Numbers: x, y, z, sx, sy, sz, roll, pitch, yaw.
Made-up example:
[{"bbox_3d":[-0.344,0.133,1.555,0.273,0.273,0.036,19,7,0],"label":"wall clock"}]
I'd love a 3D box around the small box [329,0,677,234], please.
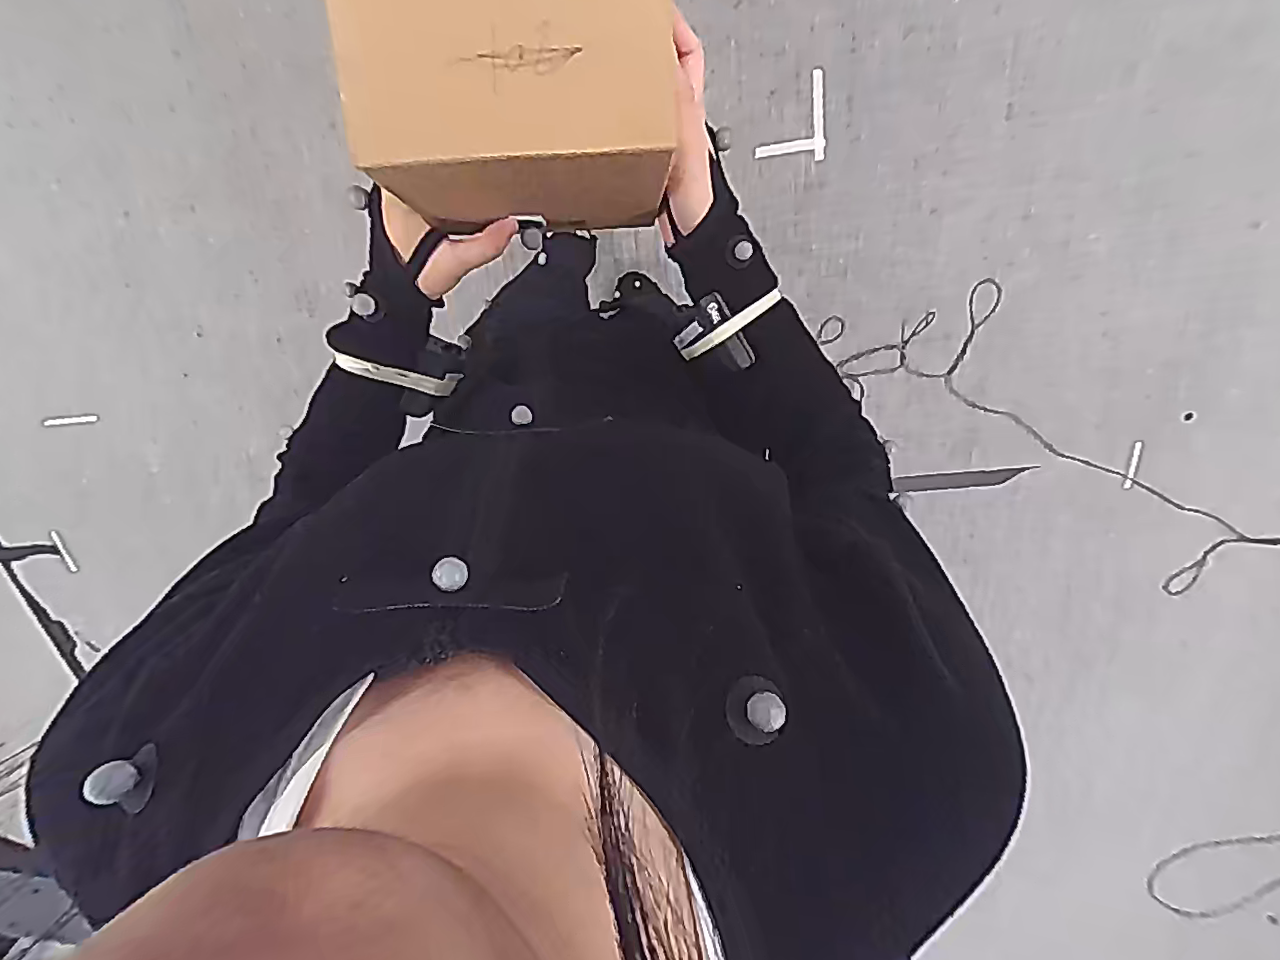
[{"bbox_3d":[-0.071,-0.266,0.331,0.168,0.176,0.179,-4,103,-2],"label":"small box"}]
